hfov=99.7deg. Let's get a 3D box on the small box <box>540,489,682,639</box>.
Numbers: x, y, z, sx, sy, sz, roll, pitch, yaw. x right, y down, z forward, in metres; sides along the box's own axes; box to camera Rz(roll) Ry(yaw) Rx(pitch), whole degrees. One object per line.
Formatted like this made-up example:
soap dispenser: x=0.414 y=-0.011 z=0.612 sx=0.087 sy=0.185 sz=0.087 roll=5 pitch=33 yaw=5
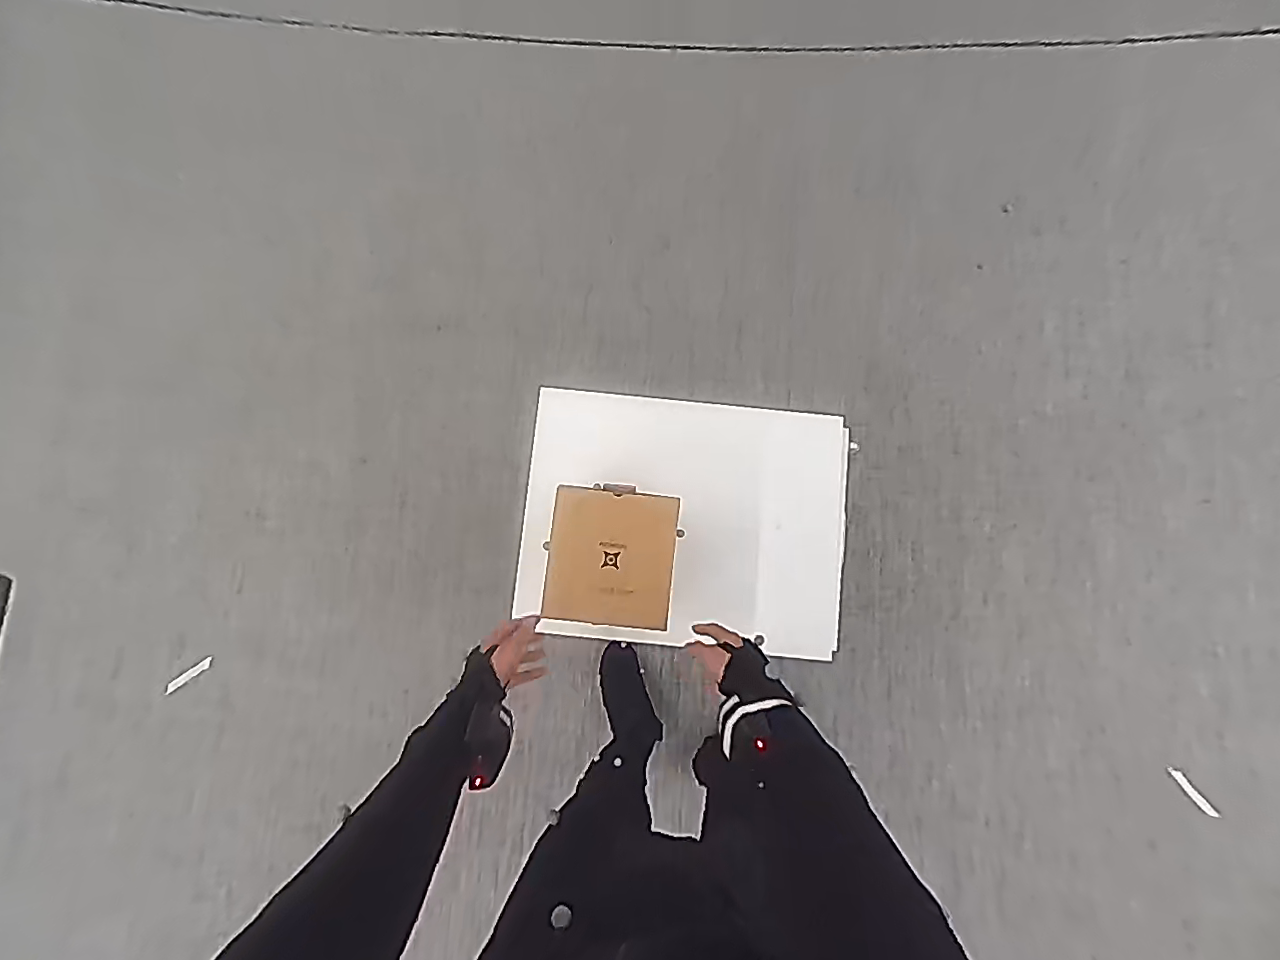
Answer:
small box: x=-0.038 y=0.120 z=0.778 sx=0.168 sy=0.176 sz=0.179 roll=7 pitch=81 yaw=1
